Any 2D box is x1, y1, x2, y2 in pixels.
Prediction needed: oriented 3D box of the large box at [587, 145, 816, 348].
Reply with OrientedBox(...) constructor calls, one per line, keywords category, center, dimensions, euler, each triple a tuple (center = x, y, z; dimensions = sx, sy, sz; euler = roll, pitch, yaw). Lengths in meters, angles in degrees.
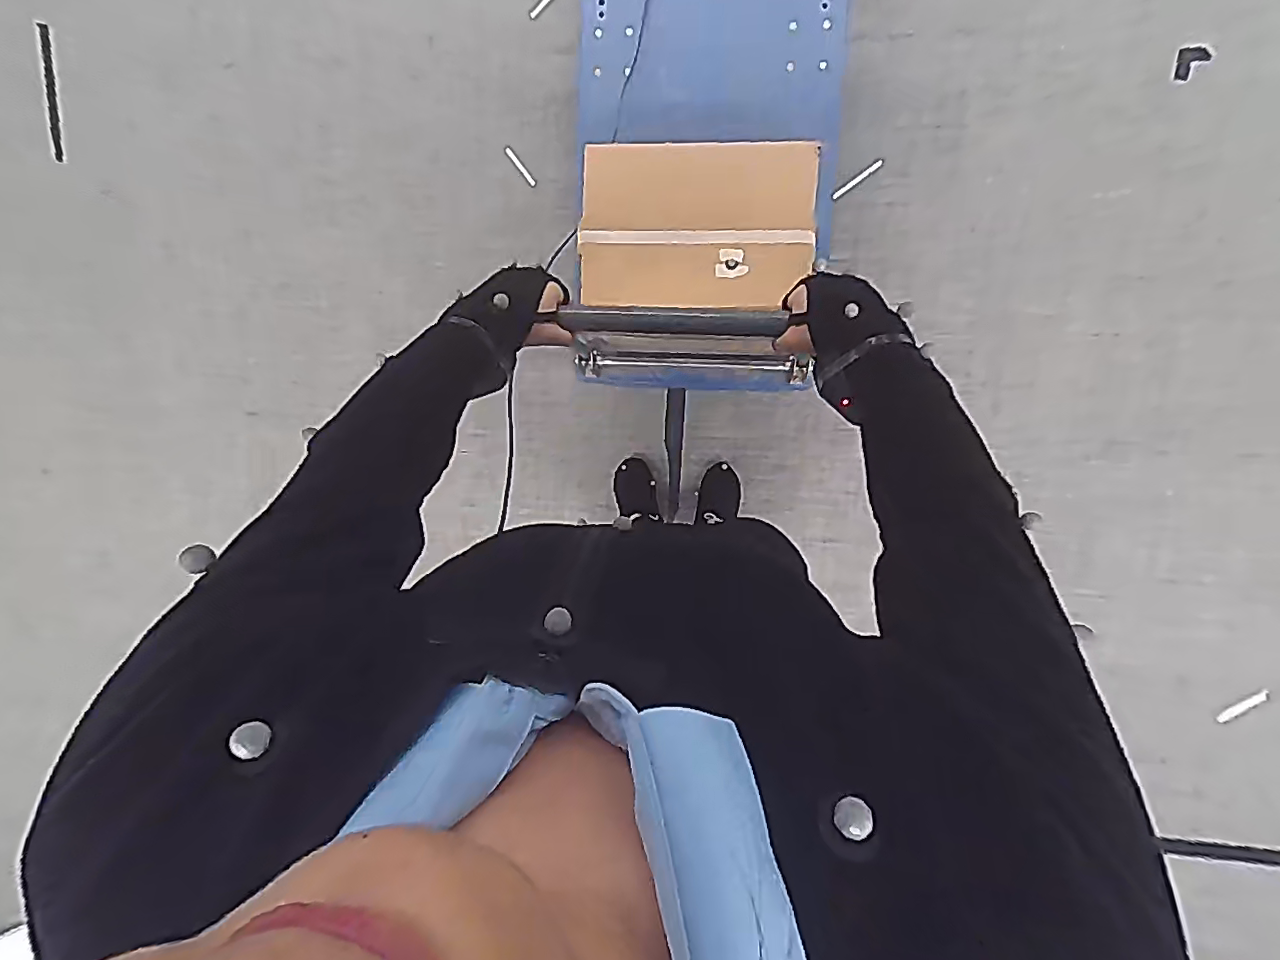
OrientedBox(category="large box", center=(0.116, -0.447, 1.111), dimensions=(0.408, 0.320, 0.320), euler=(3, 98, 6))
